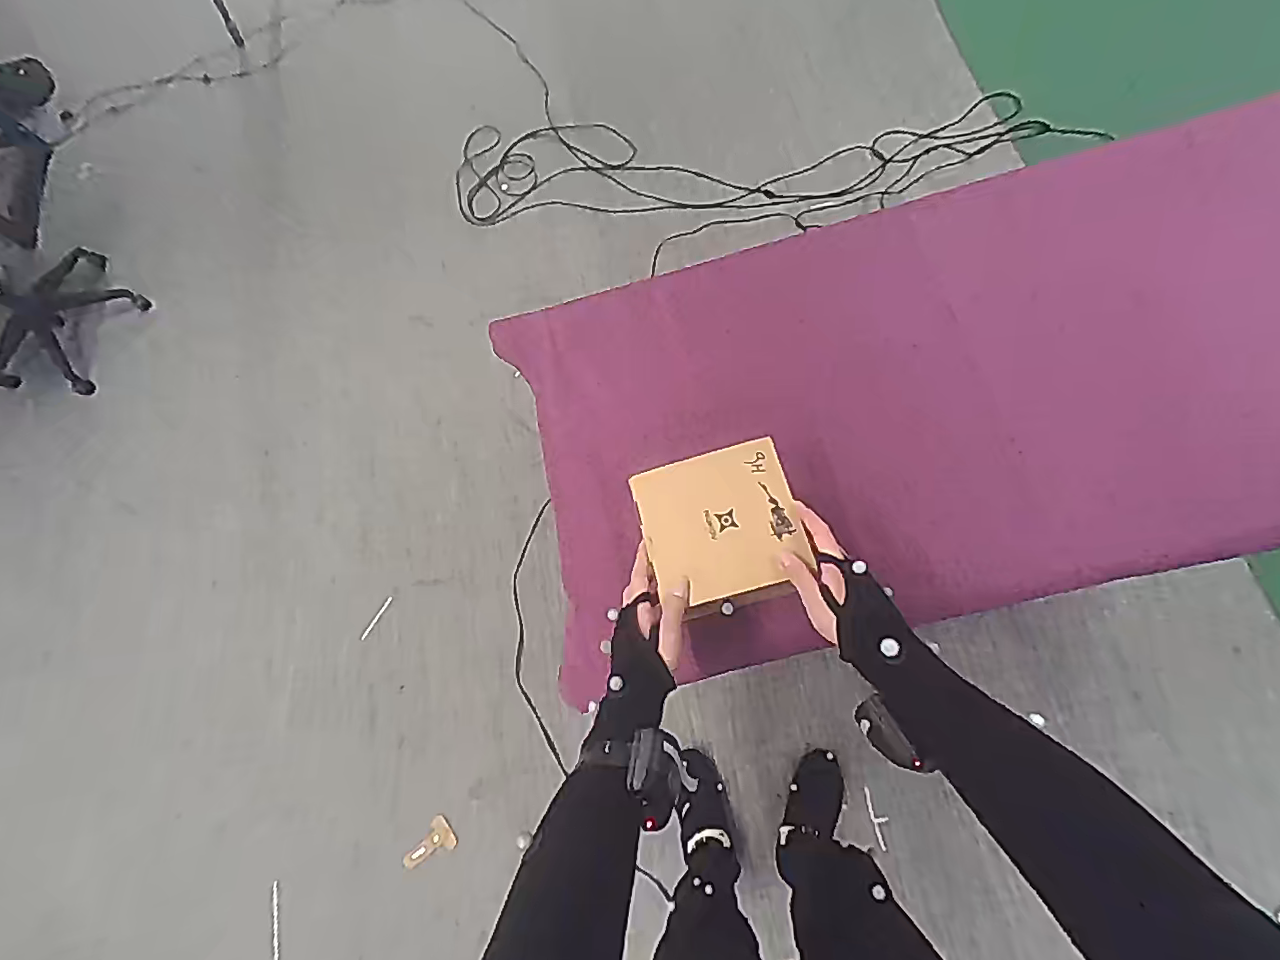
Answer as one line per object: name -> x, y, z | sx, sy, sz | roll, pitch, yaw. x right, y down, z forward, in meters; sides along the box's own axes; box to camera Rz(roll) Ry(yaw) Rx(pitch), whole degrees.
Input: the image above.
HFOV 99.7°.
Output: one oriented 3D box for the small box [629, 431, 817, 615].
small box -> 0.100, 0.065, 0.672 | 0.179, 0.176, 0.168 | -16, 71, 4
